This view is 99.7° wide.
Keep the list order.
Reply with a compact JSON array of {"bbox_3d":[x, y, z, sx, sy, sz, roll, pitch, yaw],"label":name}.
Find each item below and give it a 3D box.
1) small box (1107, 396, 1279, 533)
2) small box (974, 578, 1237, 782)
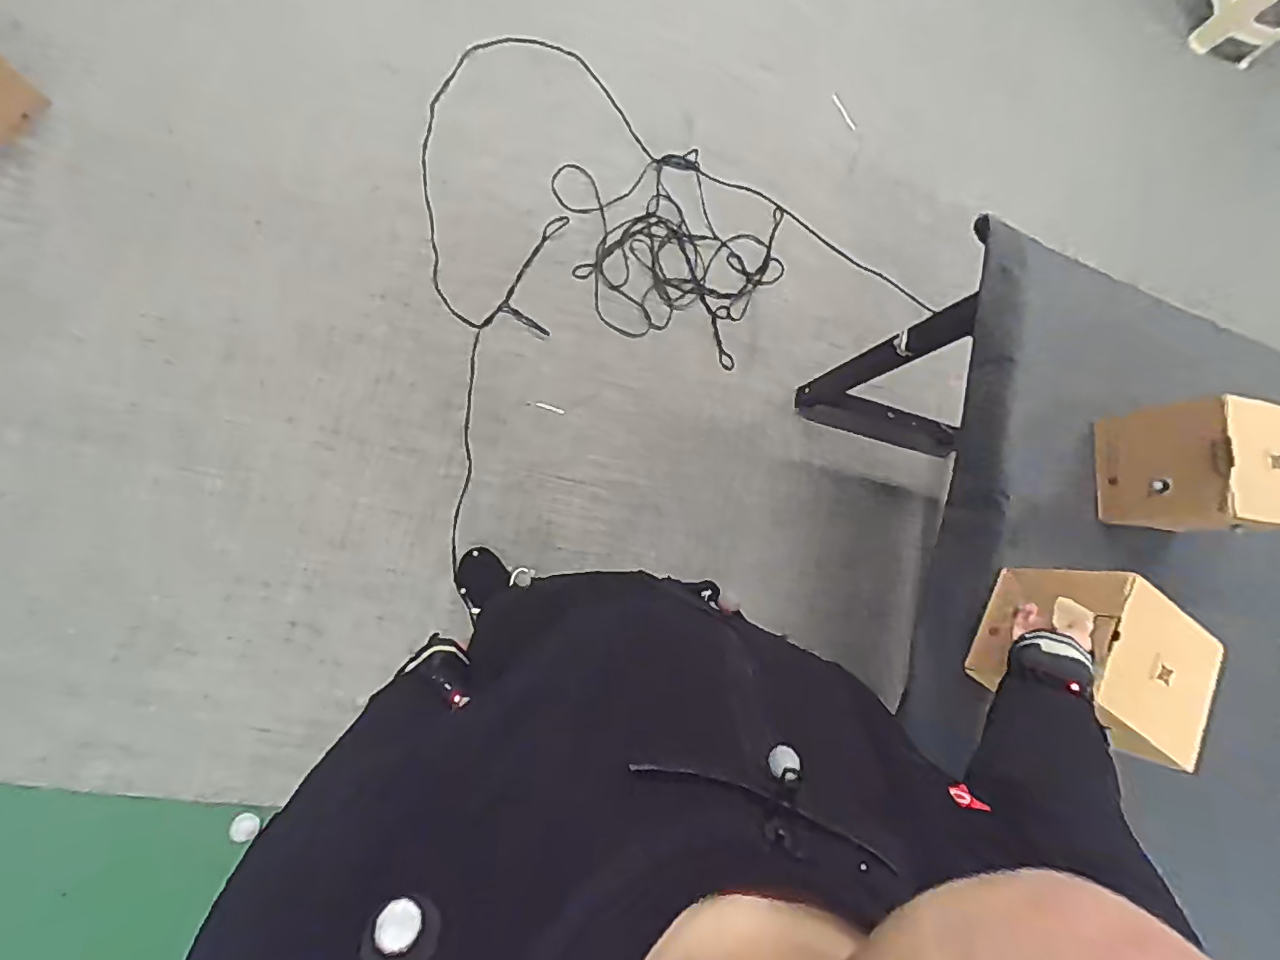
[{"bbox_3d":[0.827,-0.011,0.788,0.179,0.176,0.168,7,82,-15],"label":"small box"},{"bbox_3d":[0.575,0.233,0.683,0.179,0.176,0.168,35,74,-9],"label":"small box"}]
